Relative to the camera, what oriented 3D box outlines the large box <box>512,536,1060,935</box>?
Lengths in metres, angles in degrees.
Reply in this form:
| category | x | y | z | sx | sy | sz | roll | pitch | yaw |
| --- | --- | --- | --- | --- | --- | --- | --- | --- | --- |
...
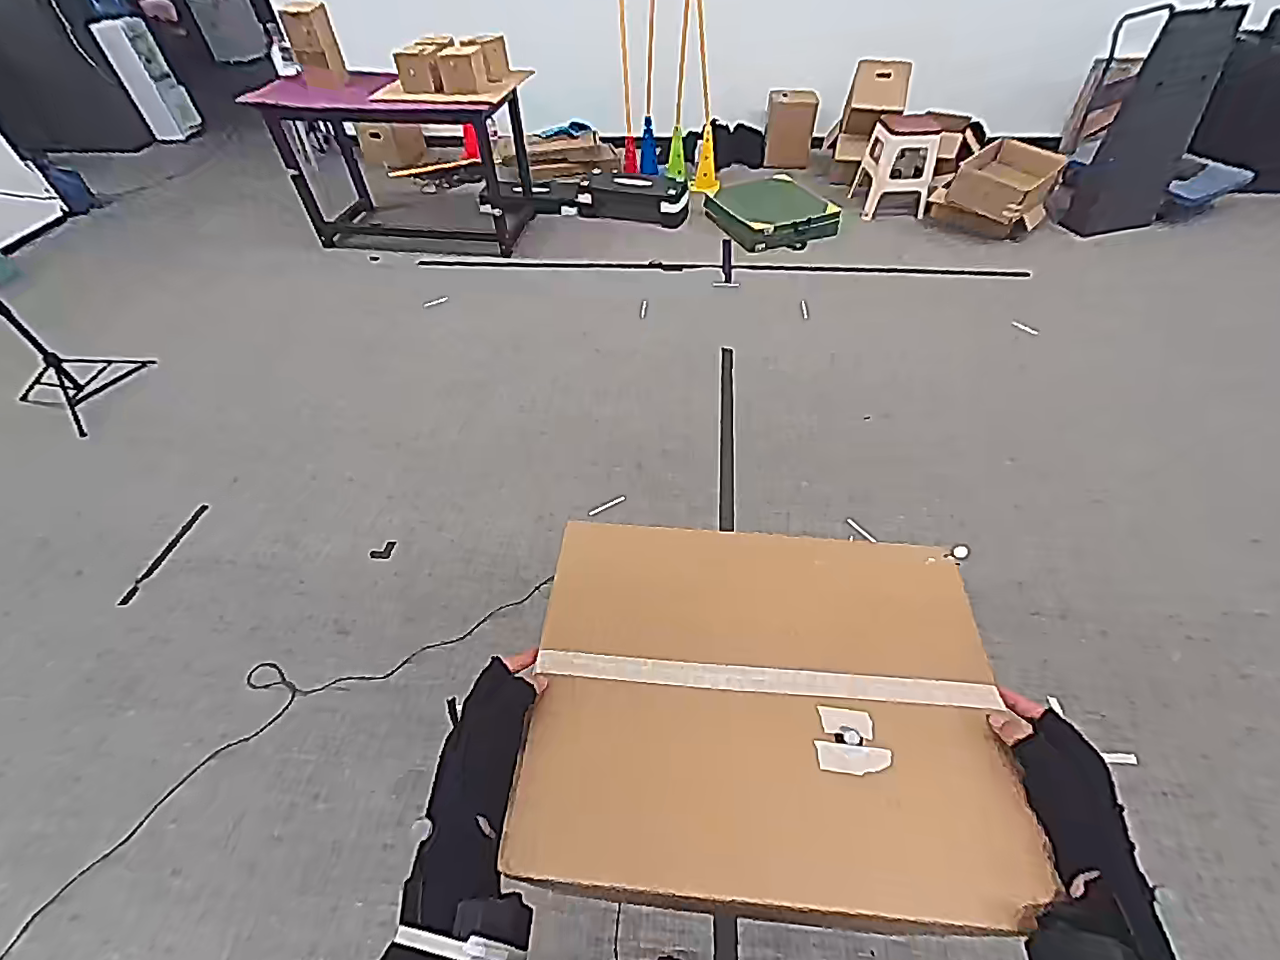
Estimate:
| category | x | y | z | sx | sy | sz | roll | pitch | yaw |
| --- | --- | --- | --- | --- | --- | --- | --- | --- | --- |
| large box | 0.110 | 0.284 | 0.597 | 0.408 | 0.320 | 0.320 | 4 | 51 | 3 |
